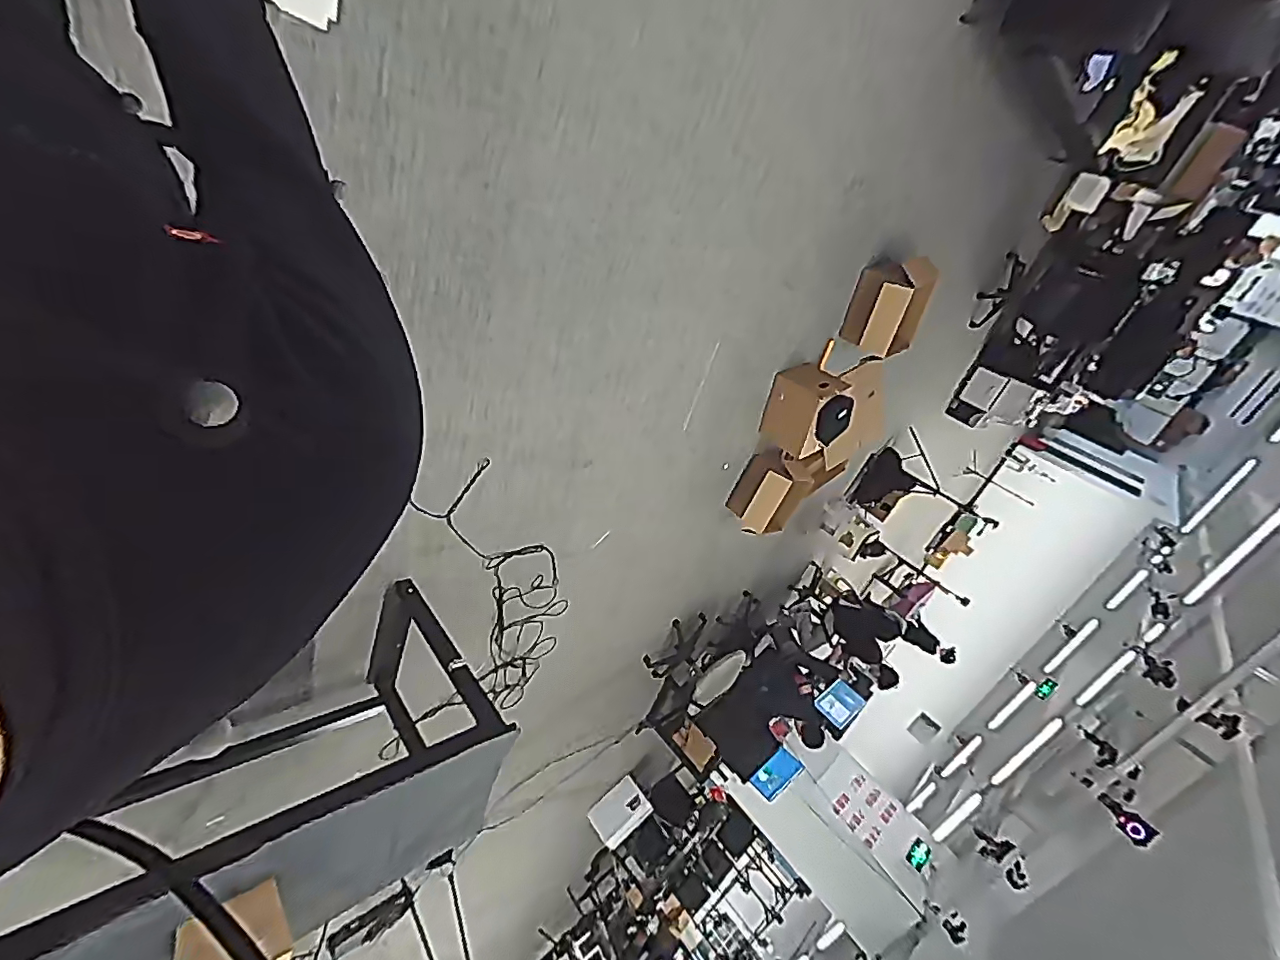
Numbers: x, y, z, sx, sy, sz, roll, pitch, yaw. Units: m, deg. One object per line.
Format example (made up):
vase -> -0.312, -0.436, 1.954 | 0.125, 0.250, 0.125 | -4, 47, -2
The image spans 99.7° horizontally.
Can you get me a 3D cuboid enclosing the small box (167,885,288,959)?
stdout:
small box -> -0.903, 1.045, 1.182 | 0.179, 0.176, 0.168 | -3, 125, -48
